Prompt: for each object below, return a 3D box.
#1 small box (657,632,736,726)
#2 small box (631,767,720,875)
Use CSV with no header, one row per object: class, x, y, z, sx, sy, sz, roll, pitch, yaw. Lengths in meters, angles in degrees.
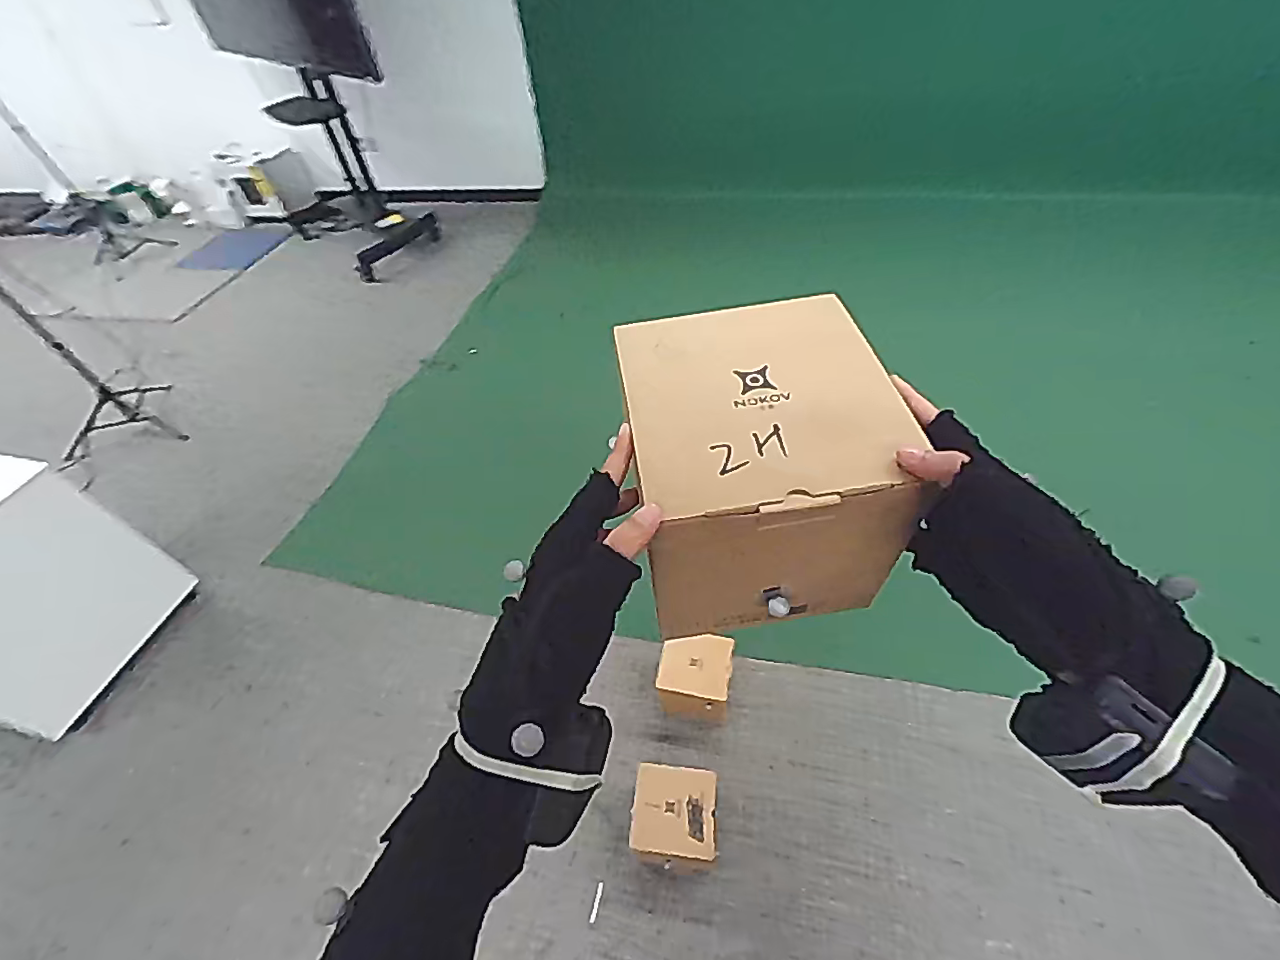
small box,0.149,0.522,1.411,0.179,0.176,0.168,7,49,11
small box,0.083,0.757,1.198,0.179,0.176,0.168,2,47,8
